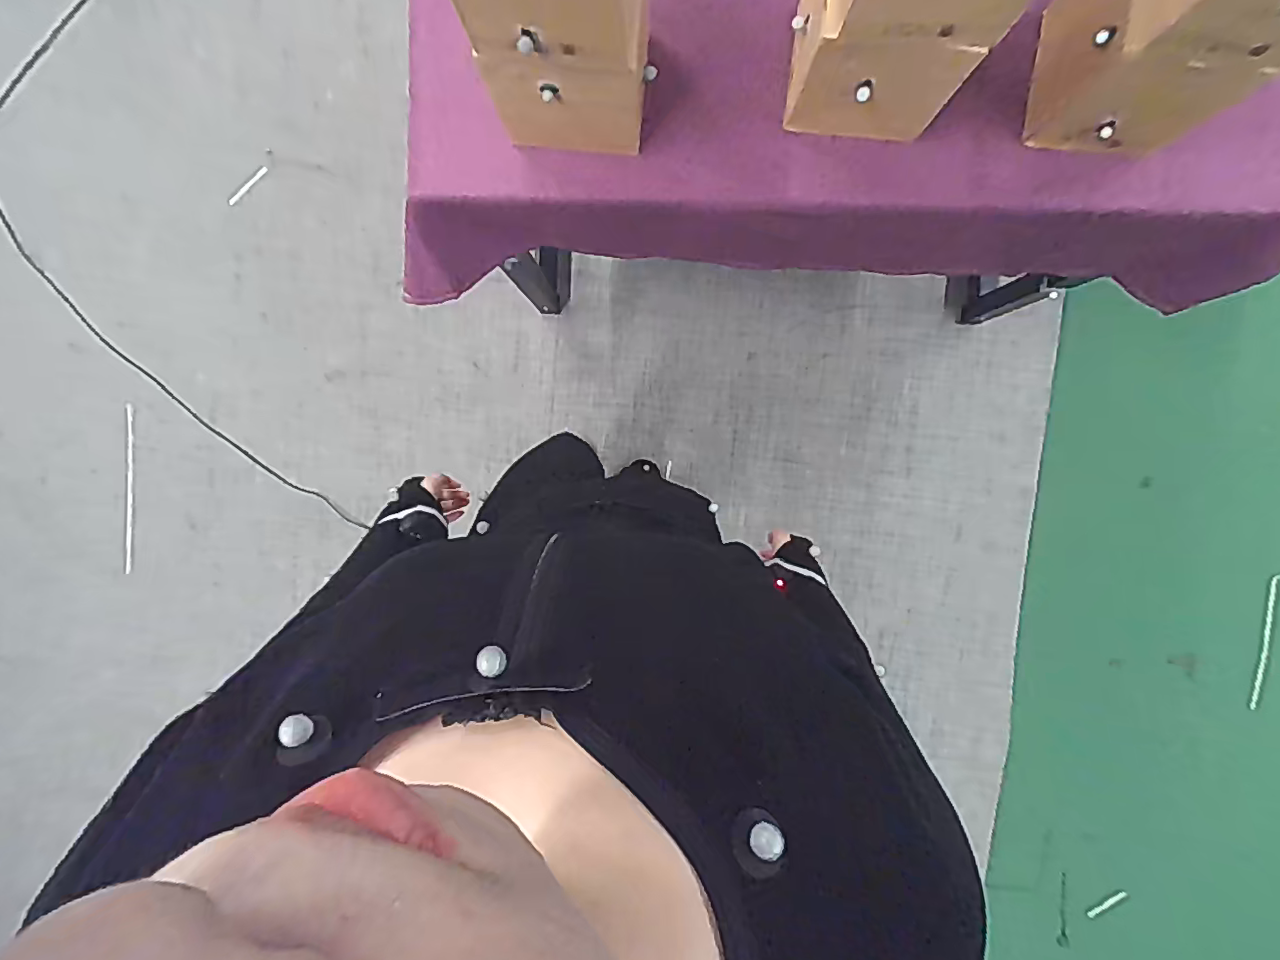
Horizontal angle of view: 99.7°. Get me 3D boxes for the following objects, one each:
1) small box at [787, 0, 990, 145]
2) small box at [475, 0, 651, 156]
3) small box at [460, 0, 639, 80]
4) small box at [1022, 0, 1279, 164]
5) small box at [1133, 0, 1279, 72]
[{"bbox_3d":[0.285,-0.532,0.645,0.179,0.176,0.168,7,93,2],"label":"small box"},{"bbox_3d":[-0.081,-0.524,0.656,0.179,0.176,0.168,6,93,0],"label":"small box"},{"bbox_3d":[-0.084,-0.519,0.493,0.168,0.176,0.179,8,93,2],"label":"small box"},{"bbox_3d":[0.595,-0.513,0.639,0.168,0.176,0.179,8,94,1],"label":"small box"},{"bbox_3d":[0.592,-0.504,0.474,0.168,0.176,0.179,6,93,1],"label":"small box"}]
